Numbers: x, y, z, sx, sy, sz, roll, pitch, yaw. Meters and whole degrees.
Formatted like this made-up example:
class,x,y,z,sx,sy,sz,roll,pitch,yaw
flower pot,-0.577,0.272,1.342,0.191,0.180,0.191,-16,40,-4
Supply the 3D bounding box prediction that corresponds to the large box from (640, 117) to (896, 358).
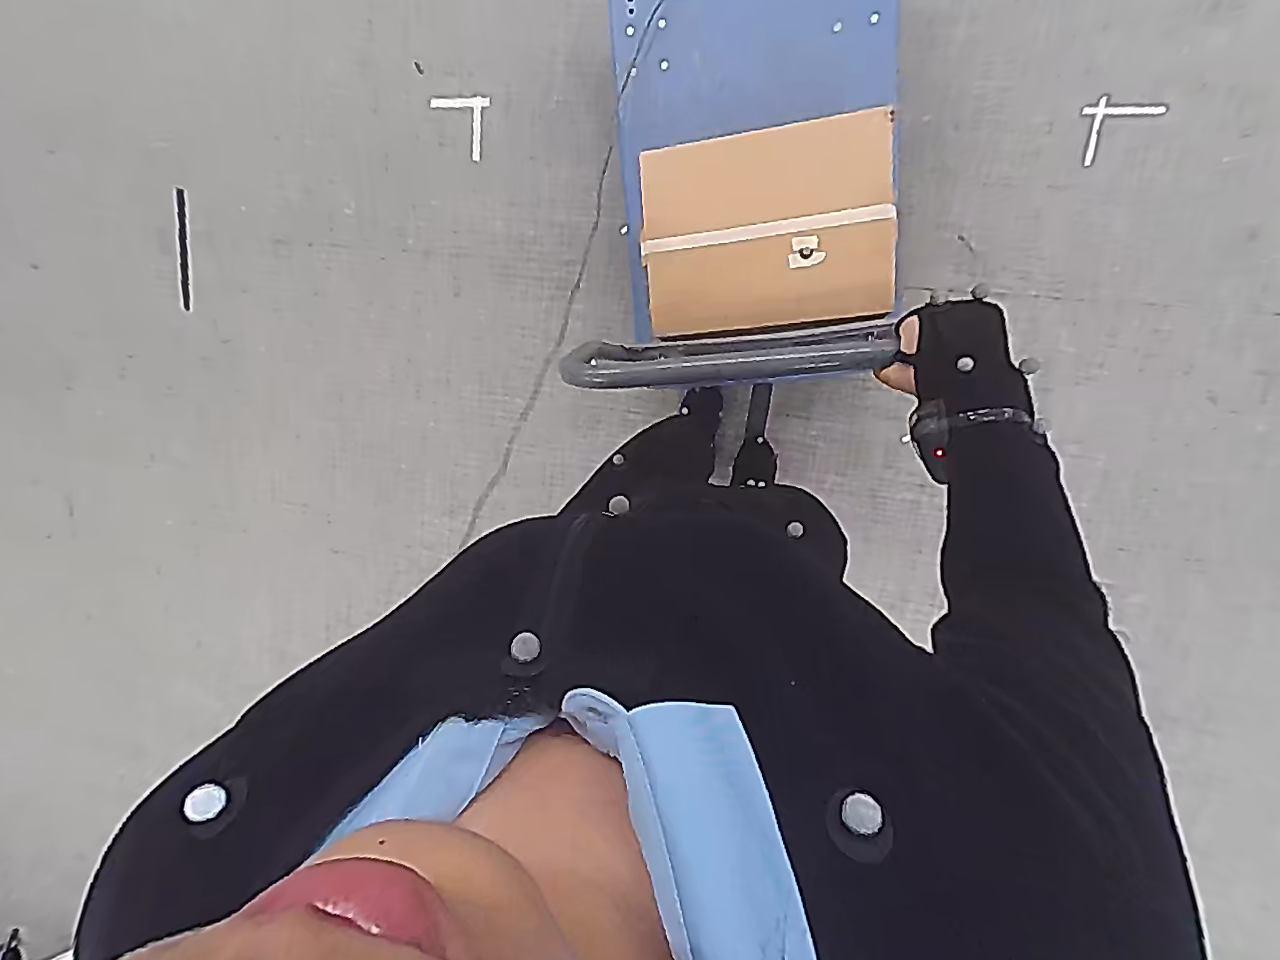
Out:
class,x,y,z,sx,sy,sz,roll,pitch,yaw
large box,0.234,-0.420,1.038,0.408,0.320,0.320,-3,99,12
